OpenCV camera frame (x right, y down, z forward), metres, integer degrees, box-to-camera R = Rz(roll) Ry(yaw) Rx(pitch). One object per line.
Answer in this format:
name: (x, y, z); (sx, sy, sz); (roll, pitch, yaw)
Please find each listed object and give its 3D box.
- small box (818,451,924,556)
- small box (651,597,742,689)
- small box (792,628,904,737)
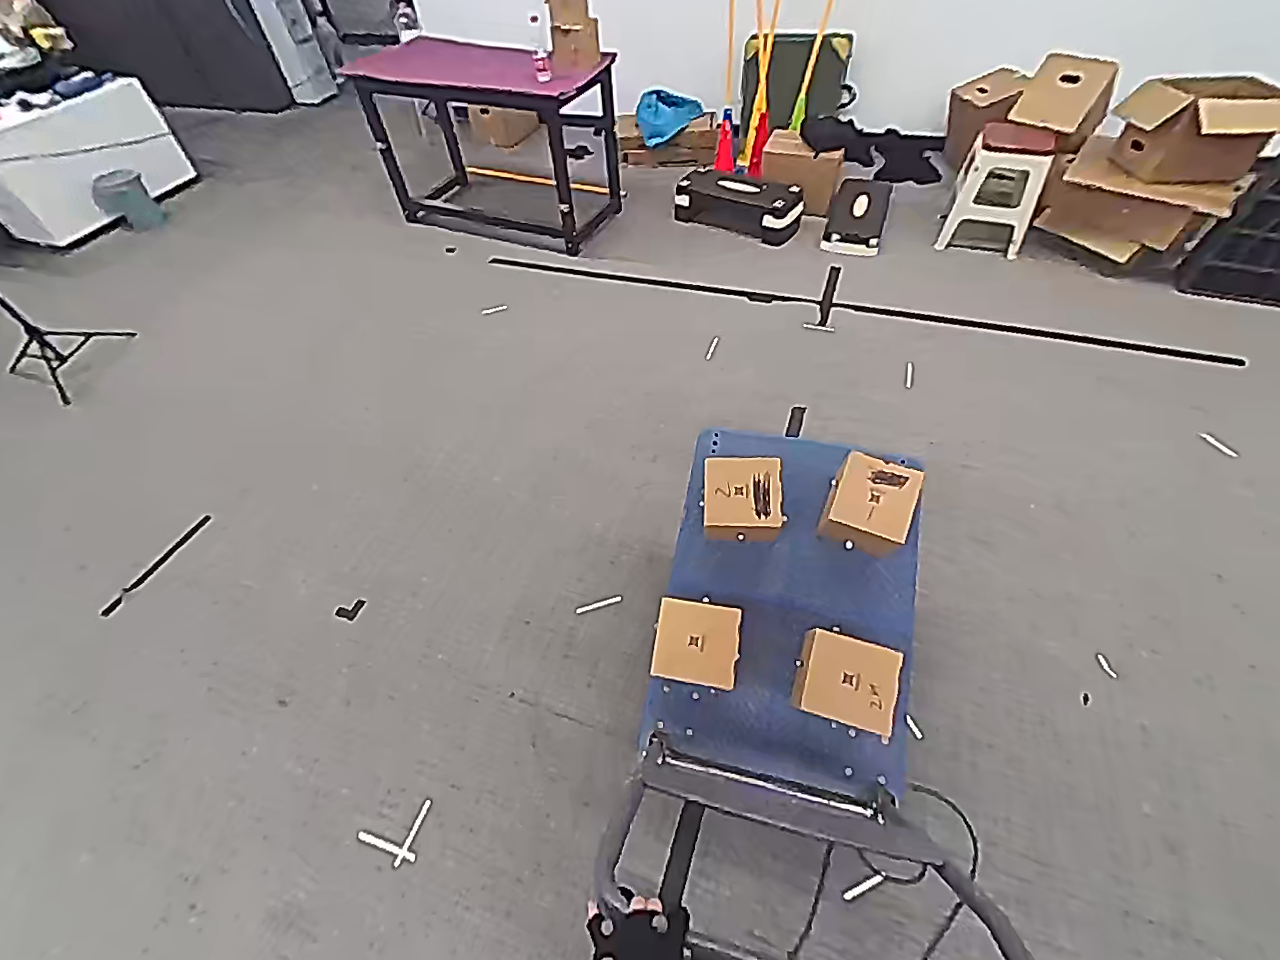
small box: (0.532, 0.061, 1.267); (0.168, 0.176, 0.179); (20, 76, 14)
small box: (0.128, 0.369, 1.217); (0.179, 0.176, 0.168); (7, 72, 9)
small box: (0.434, 0.428, 1.154); (0.179, 0.176, 0.168); (14, 74, 12)
